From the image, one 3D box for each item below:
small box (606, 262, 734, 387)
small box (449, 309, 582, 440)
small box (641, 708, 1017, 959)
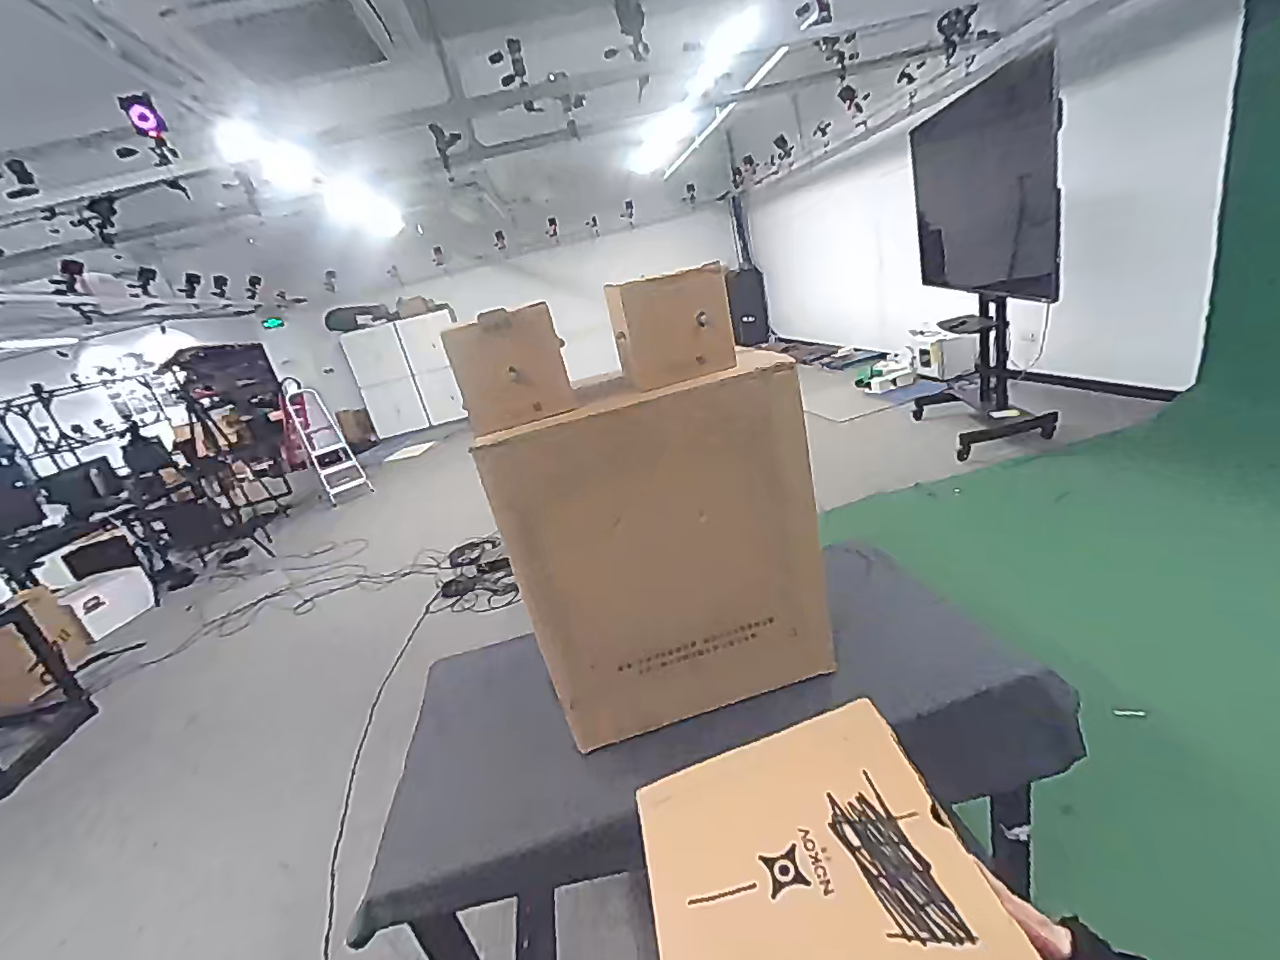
[{"bbox_3d":[0.050,-0.264,0.925,0.168,0.176,0.179,-14,20,-7],"label":"small box"},{"bbox_3d":[-0.206,-0.178,0.911,0.168,0.176,0.179,-18,22,-9],"label":"small box"},{"bbox_3d":[0.115,0.295,0.356,0.179,0.176,0.168,-21,24,2],"label":"small box"}]
